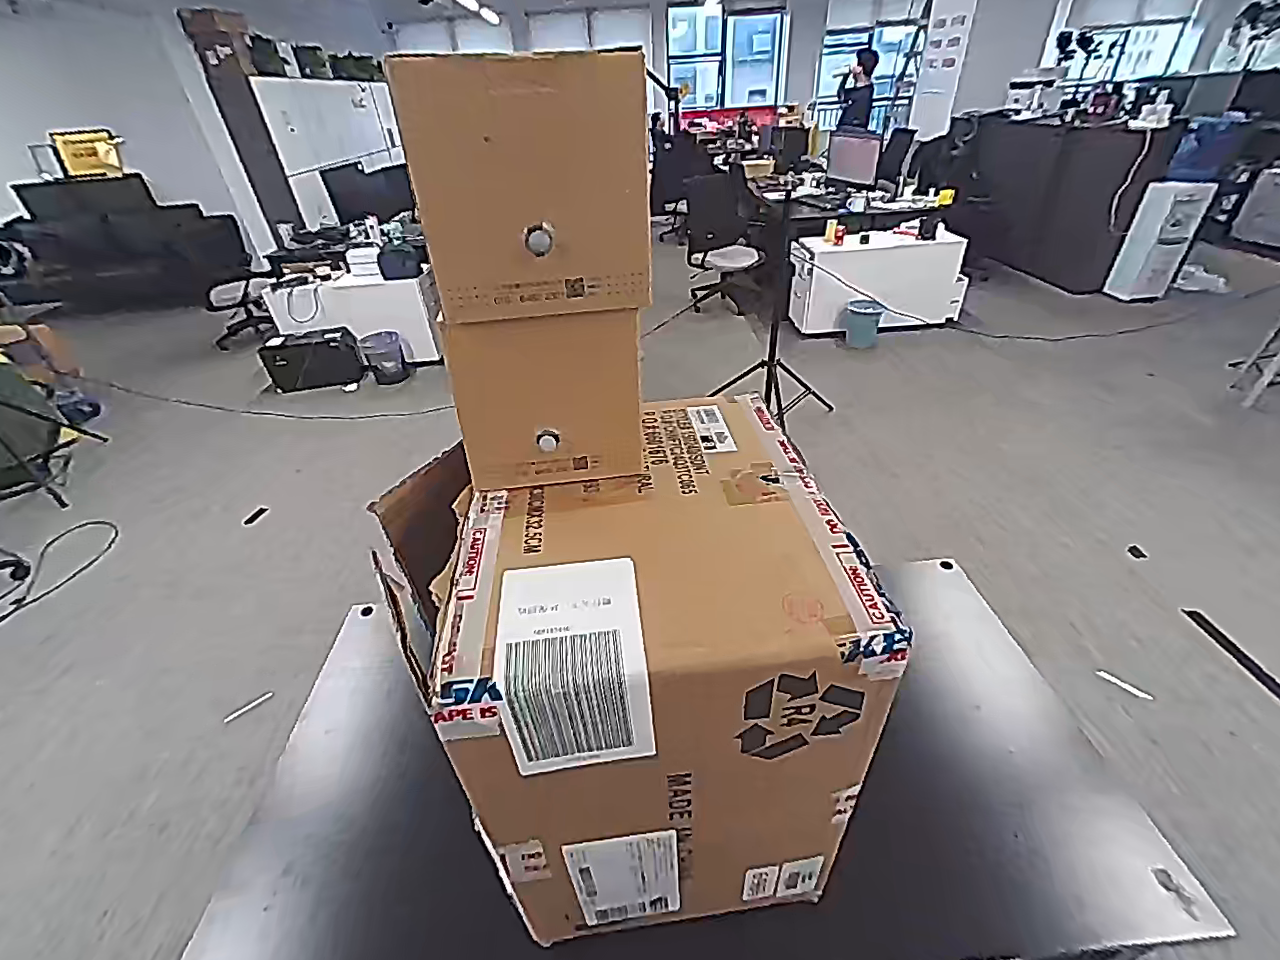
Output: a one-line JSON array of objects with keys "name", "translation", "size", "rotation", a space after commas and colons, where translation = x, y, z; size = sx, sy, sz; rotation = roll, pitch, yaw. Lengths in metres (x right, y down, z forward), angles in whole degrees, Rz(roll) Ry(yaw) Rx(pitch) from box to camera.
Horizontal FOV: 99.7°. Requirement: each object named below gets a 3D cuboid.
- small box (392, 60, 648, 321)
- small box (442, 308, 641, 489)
[{"name": "small box", "translation": [-0.089, -0.244, 0.463], "size": [0.168, 0.176, 0.179], "rotation": [-8, 34, -7]}, {"name": "small box", "translation": [-0.091, -0.110, 0.560], "size": [0.168, 0.176, 0.179], "rotation": [-6, 34, -6]}]
